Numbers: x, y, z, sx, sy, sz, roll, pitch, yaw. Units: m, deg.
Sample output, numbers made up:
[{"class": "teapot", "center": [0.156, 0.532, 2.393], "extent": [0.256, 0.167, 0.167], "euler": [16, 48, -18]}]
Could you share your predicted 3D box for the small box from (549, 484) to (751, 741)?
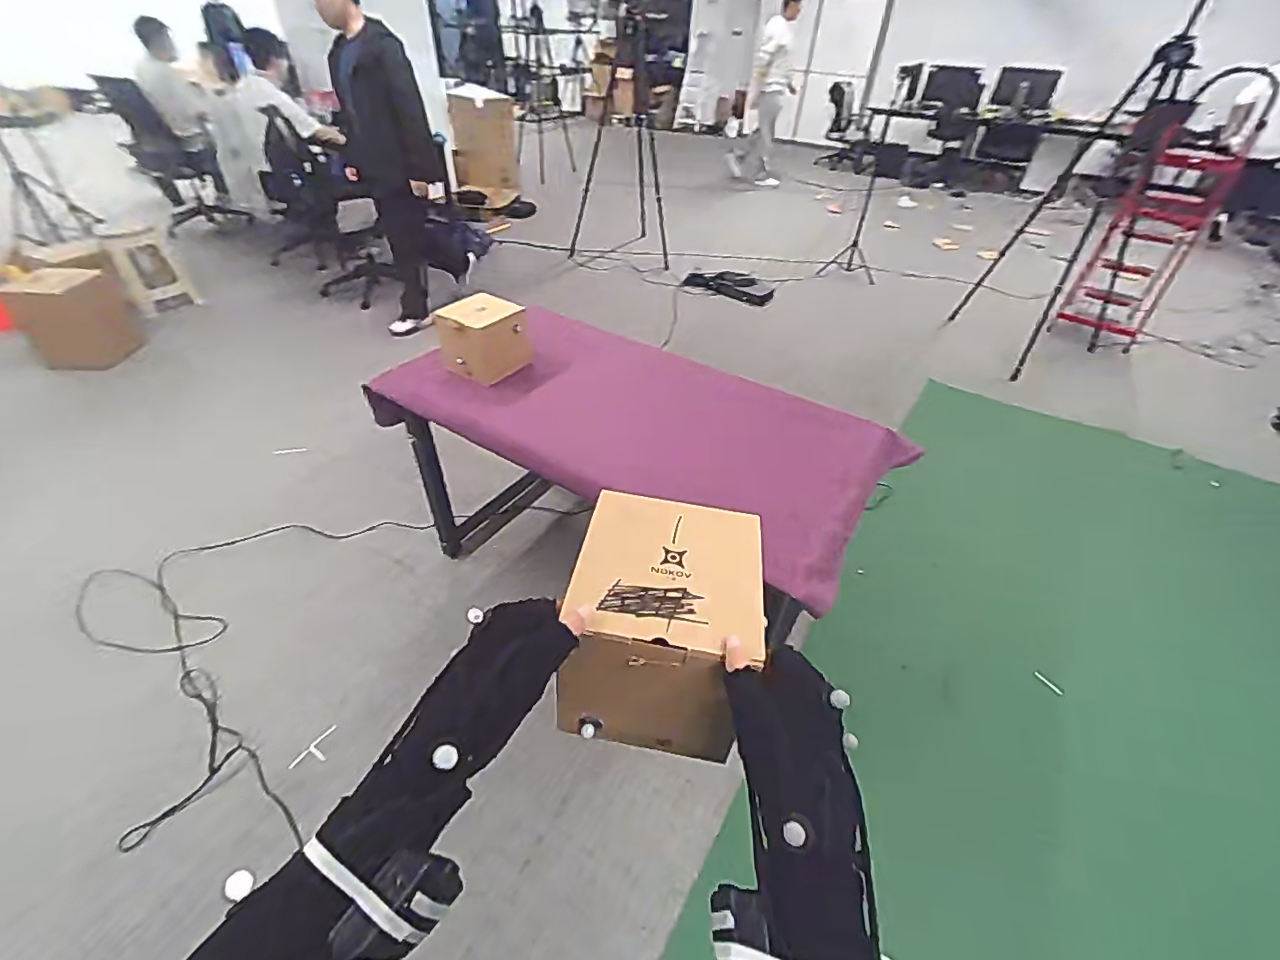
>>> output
[{"class": "small box", "center": [0.014, 0.131, 0.541], "extent": [0.168, 0.176, 0.179], "euler": [9, 38, 3]}]

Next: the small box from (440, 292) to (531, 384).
[{"class": "small box", "center": [-0.416, -0.391, 1.488], "extent": [0.168, 0.176, 0.179], "euler": [25, 45, 24]}]
